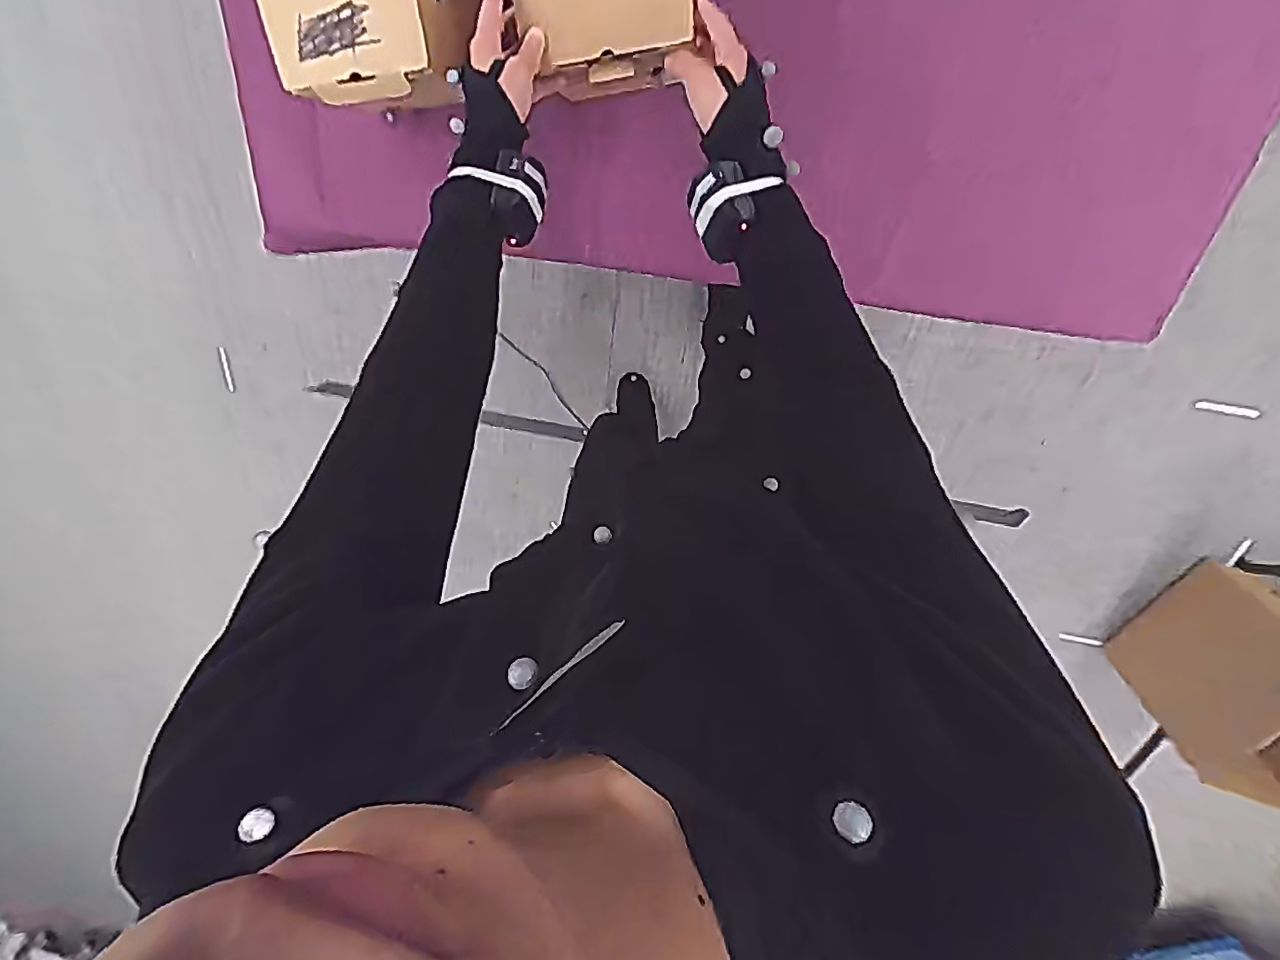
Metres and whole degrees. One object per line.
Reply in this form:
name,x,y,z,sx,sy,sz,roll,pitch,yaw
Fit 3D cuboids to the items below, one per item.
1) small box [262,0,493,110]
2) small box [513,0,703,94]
small box,-0.275,-0.513,0.578,0.168,0.176,0.179,-1,117,10
small box,-0.027,-0.507,0.540,0.168,0.176,0.179,-2,117,10
